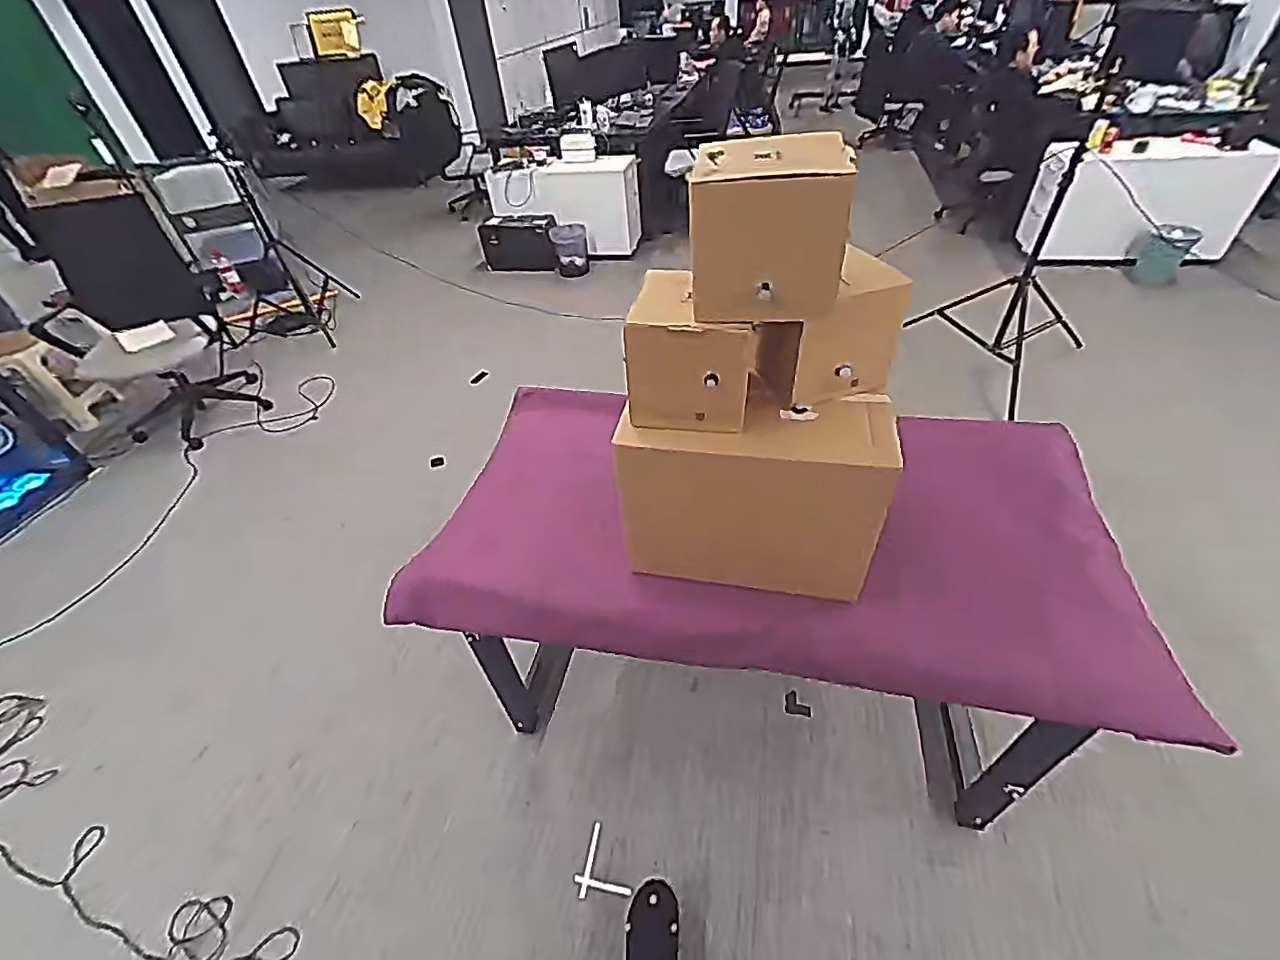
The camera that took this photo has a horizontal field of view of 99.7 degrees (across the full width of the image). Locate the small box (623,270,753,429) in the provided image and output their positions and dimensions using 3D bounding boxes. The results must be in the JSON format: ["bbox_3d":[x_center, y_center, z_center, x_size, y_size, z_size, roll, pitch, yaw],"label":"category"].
[{"bbox_3d":[0.078,-0.192,0.794,0.168,0.176,0.179,5,43,9],"label":"small box"}]

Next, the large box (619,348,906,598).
[{"bbox_3d":[0.196,-0.022,0.958,0.408,0.320,0.320,6,45,11],"label":"large box"}]

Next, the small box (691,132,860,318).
[{"bbox_3d":[0.158,-0.314,0.674,0.179,0.176,0.168,3,44,10],"label":"small box"}]
